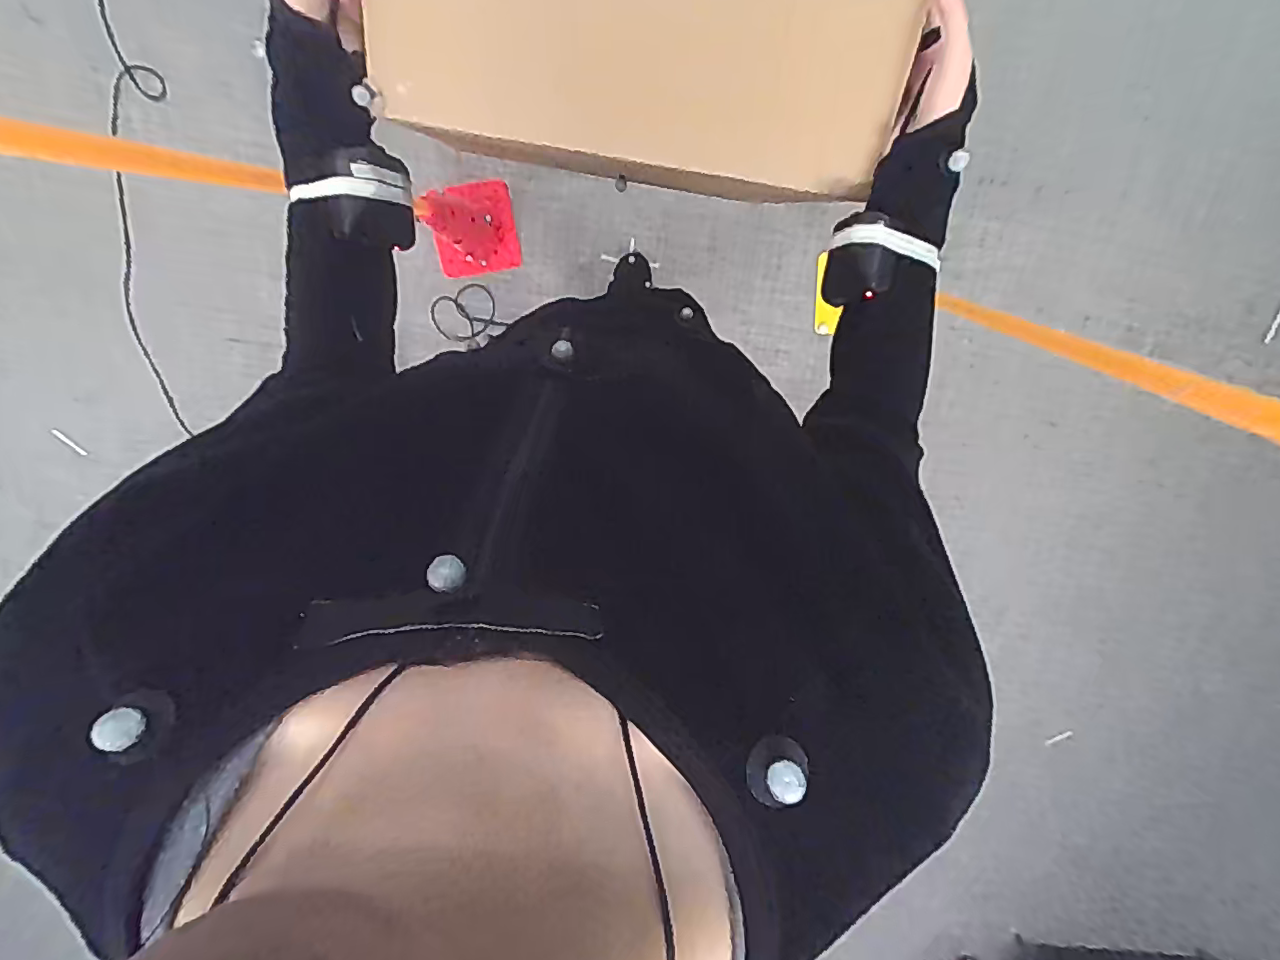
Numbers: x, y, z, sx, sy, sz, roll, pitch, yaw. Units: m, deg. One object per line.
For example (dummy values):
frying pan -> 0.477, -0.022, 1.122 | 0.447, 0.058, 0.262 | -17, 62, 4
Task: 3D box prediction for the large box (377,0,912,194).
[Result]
large box -> 0.005, -0.467, 0.509 | 0.408, 0.320, 0.320 | 5, 116, -8
